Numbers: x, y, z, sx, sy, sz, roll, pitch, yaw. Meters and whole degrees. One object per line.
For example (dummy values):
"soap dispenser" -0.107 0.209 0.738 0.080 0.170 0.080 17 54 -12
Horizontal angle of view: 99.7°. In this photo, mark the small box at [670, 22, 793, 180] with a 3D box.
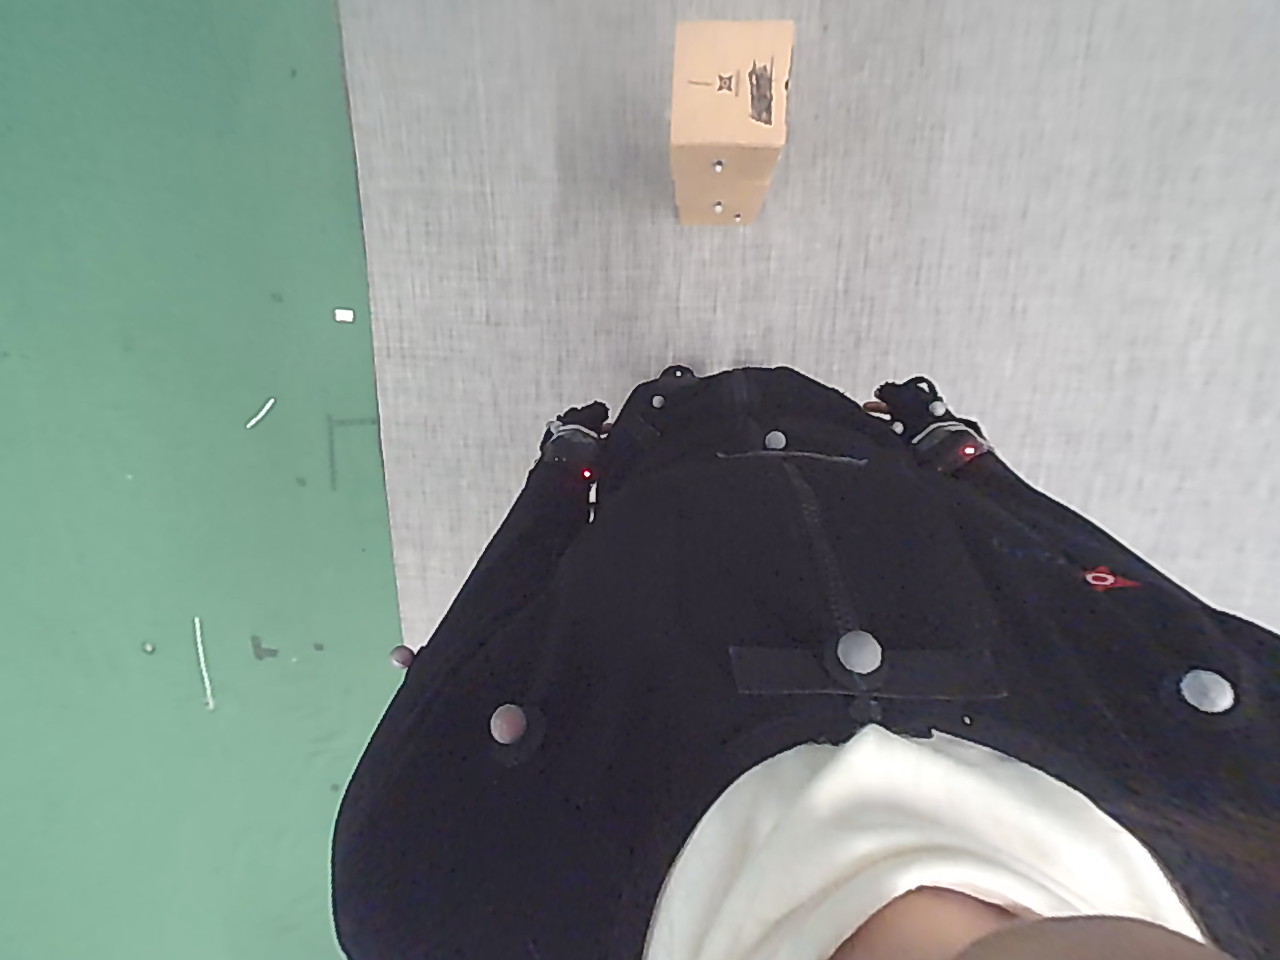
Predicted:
"small box" 0.140 -0.608 0.887 0.179 0.176 0.168 1 103 3

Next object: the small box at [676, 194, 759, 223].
"small box" 0.172 -0.683 1.205 0.179 0.176 0.168 2 102 6

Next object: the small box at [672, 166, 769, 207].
"small box" 0.157 -0.642 1.047 0.179 0.176 0.168 6 103 3
